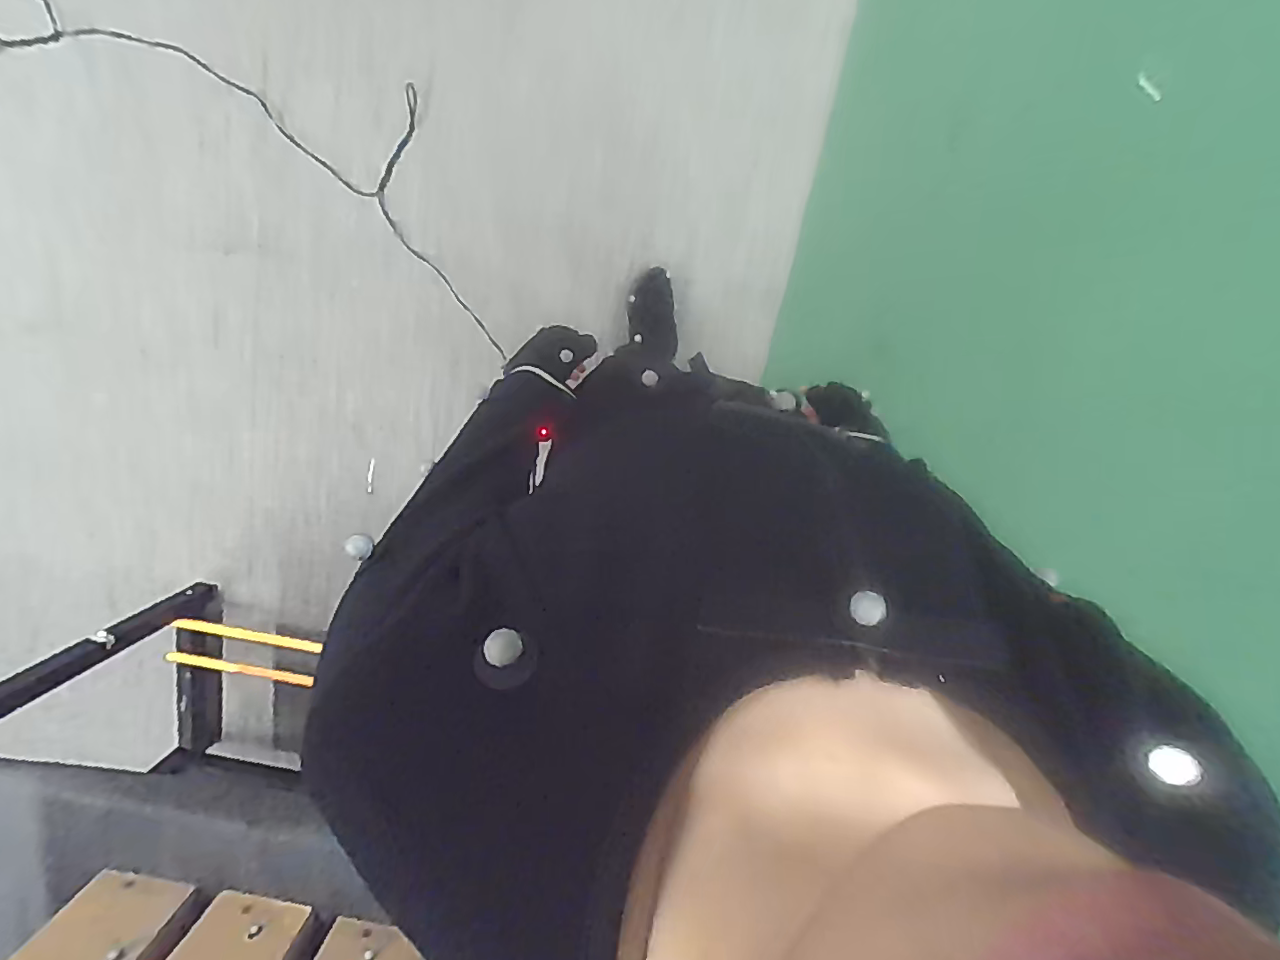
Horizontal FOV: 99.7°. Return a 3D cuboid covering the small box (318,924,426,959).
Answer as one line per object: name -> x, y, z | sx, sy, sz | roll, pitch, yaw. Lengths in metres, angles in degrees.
small box -> -0.466, 0.887, 0.883 | 0.168, 0.176, 0.179 | 11, 104, -1
